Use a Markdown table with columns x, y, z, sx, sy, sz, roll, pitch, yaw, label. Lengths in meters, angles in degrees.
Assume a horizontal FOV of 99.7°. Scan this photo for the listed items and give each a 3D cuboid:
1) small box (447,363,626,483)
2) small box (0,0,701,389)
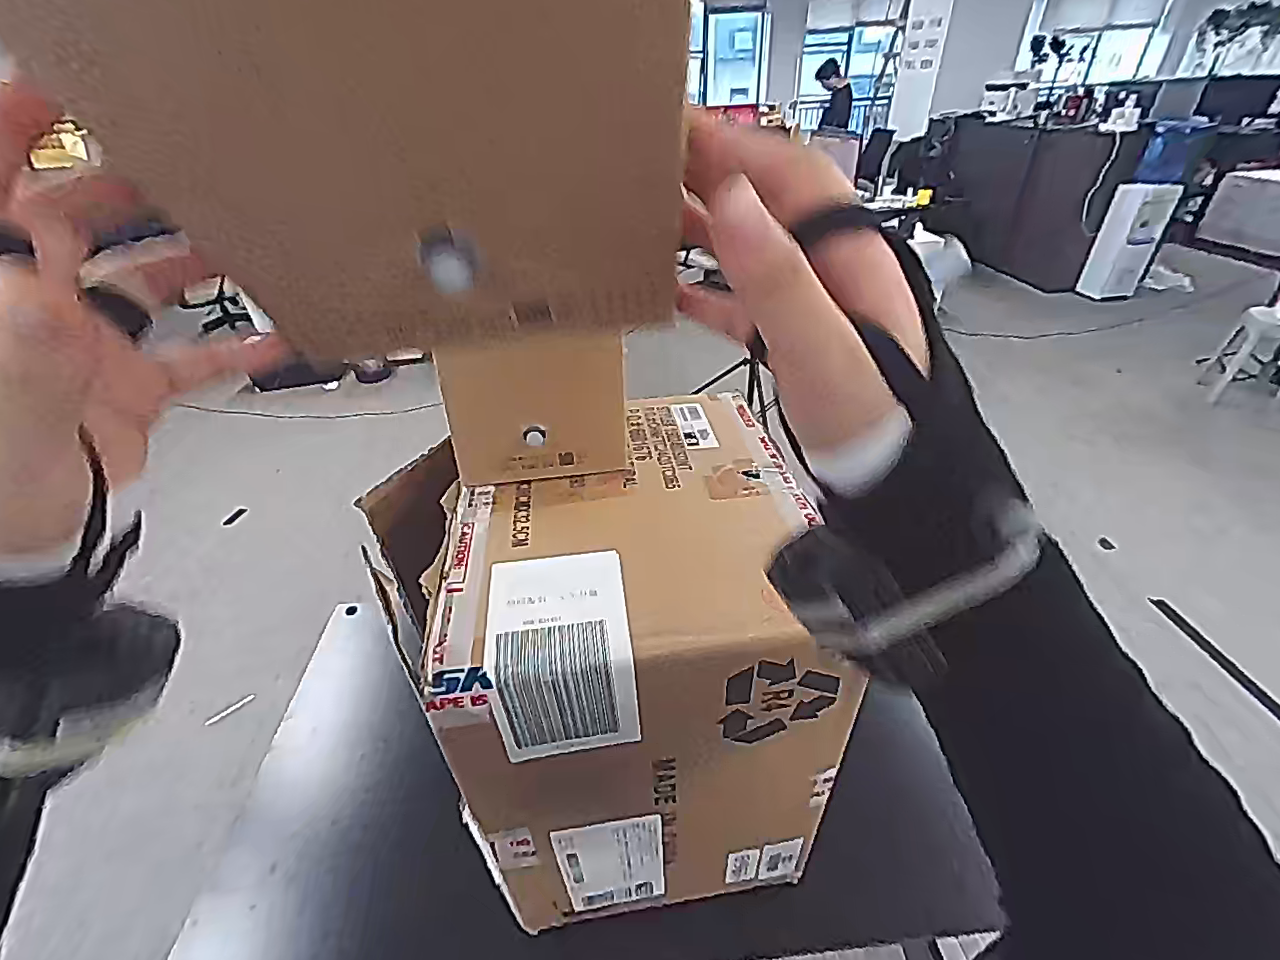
| x | y | z | sx | sy | sz | roll | pitch | yaw | label |
| --- | --- | --- | --- | --- | --- | --- | --- | --- | --- |
| -0.107 | -0.115 | 0.571 | 0.168 | 0.176 | 0.179 | -7 | 34 | -8 | small box |
| -0.075 | -0.159 | 0.210 | 0.168 | 0.176 | 0.179 | -7 | 68 | -1 | small box |
